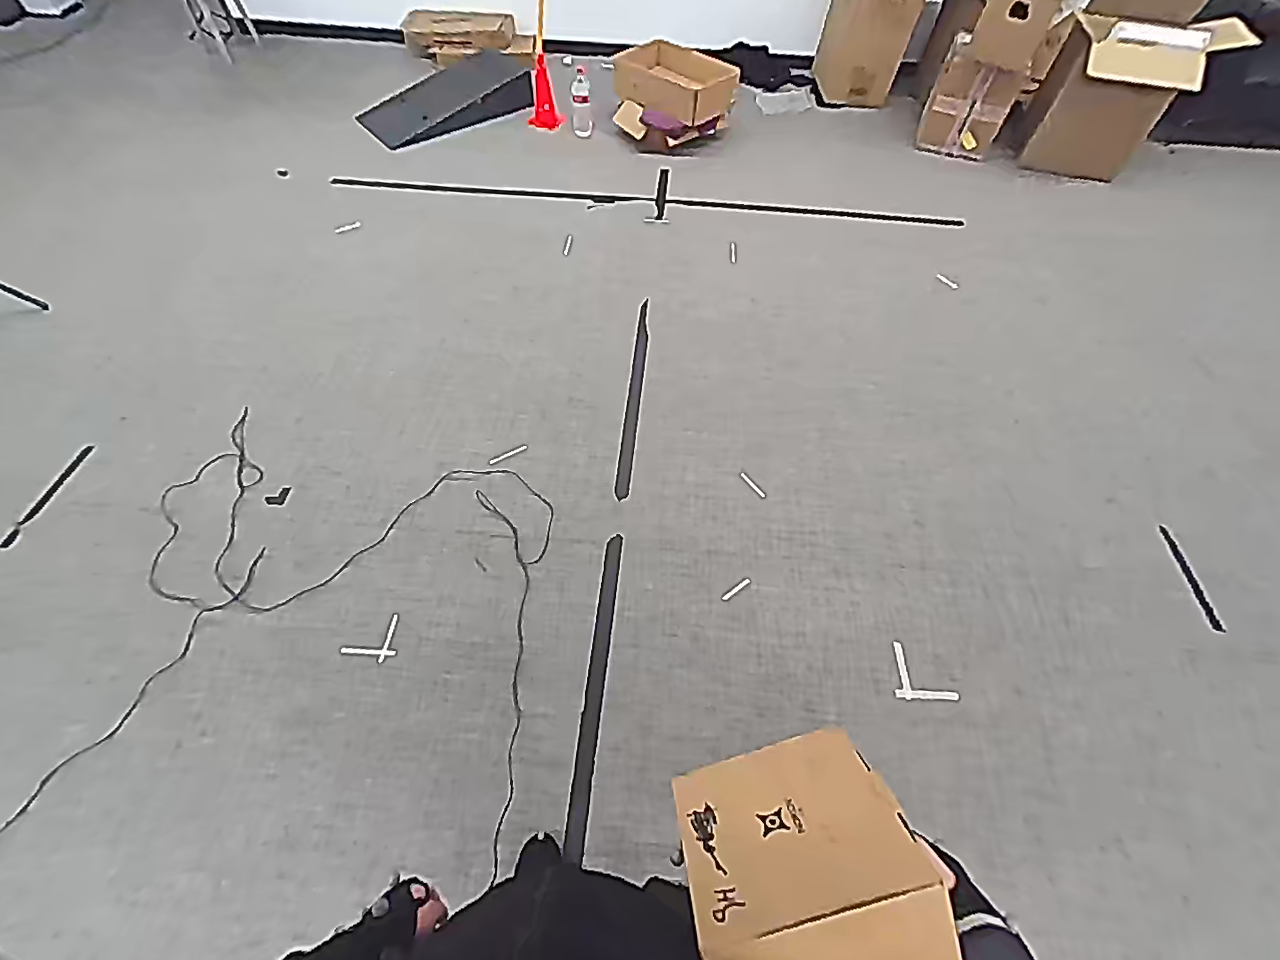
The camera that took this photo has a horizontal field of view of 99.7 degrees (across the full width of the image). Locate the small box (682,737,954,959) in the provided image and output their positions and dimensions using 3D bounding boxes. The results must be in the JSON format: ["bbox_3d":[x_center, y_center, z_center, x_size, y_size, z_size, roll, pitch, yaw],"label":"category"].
[{"bbox_3d":[0.150,0.370,0.474,0.179,0.168,0.176,-17,100,0],"label":"small box"}]
